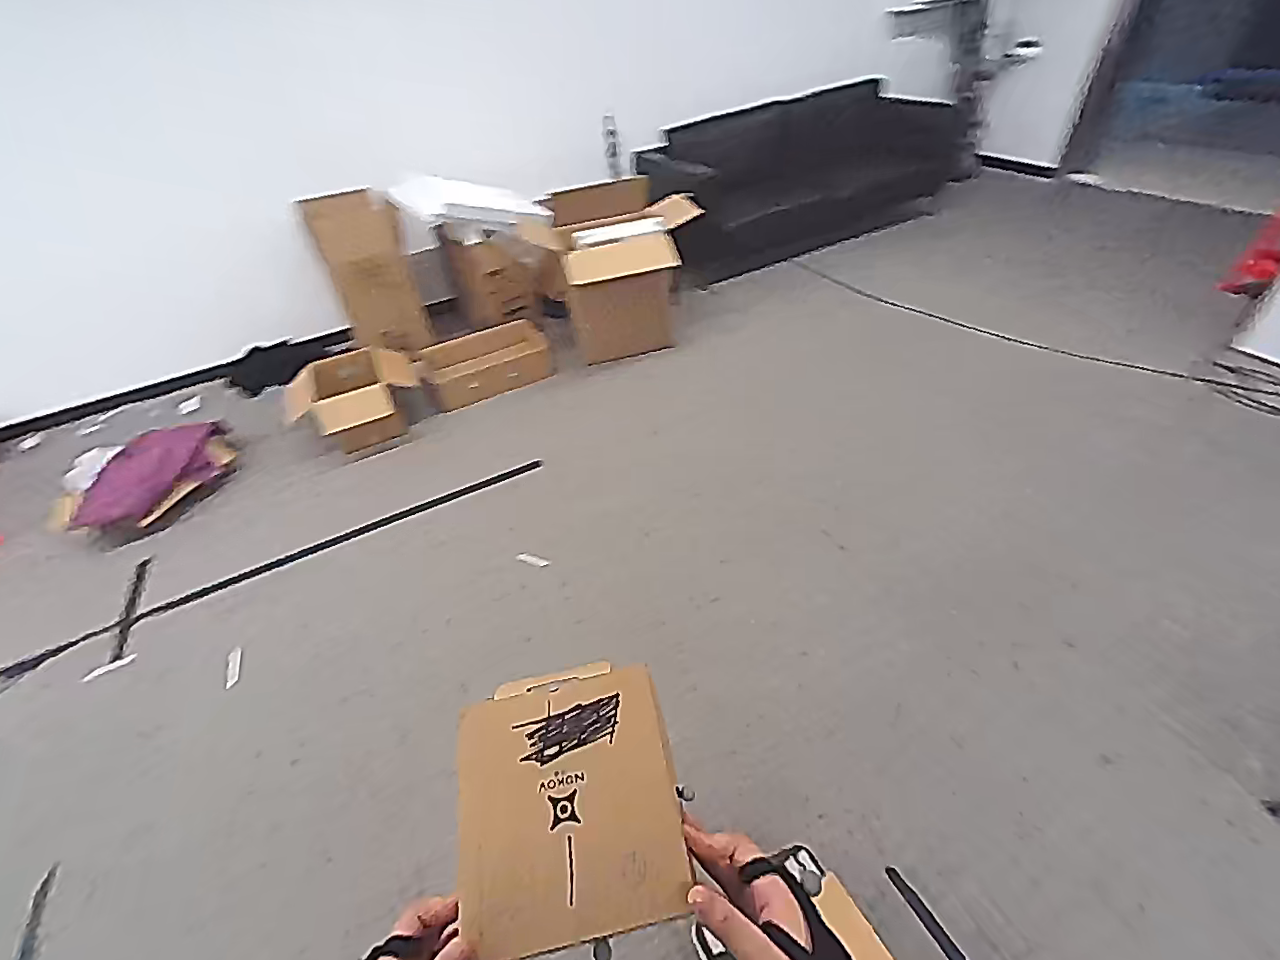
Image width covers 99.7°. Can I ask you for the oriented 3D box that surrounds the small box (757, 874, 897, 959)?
[{"bbox_3d":[0.306,0.809,0.904,0.179,0.176,0.168,-24,44,-17],"label":"small box"}]

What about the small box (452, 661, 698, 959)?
[{"bbox_3d":[-0.052,0.288,0.471,0.168,0.176,0.179,-15,51,-2],"label":"small box"}]

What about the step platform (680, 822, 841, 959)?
[{"bbox_3d":[0.338,0.893,0.755,0.286,0.204,0.684,-23,45,-18],"label":"step platform"}]
